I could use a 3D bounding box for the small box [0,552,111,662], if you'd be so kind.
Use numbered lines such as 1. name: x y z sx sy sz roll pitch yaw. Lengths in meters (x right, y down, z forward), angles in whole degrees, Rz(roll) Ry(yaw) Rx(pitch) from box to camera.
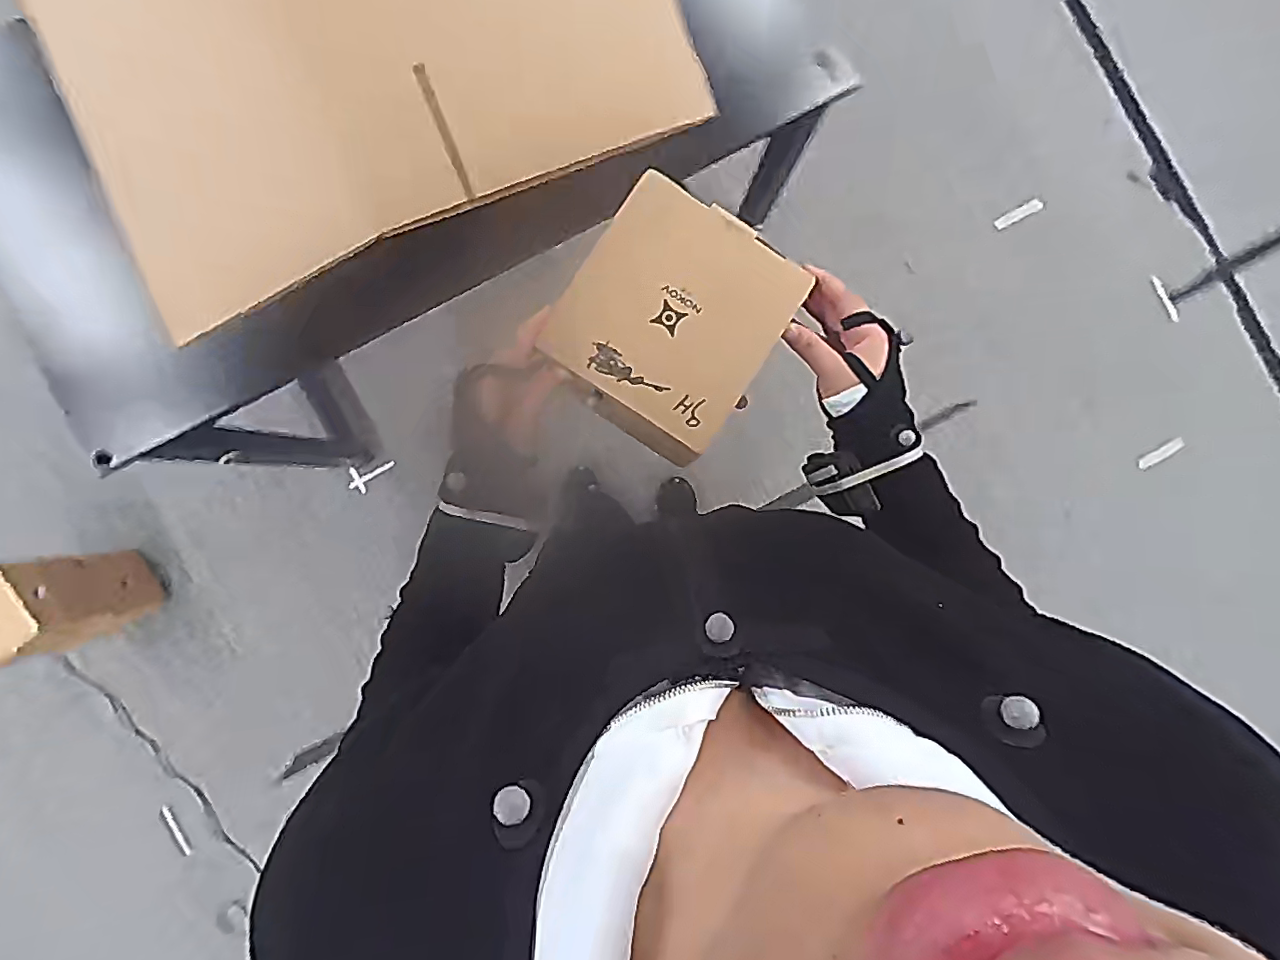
1. small box: -1.361 0.279 1.206 0.168 0.176 0.179 -35 90 -3

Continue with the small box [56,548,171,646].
1. small box: -1.362 0.284 1.368 0.168 0.176 0.179 -31 91 -2

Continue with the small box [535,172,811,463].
1. small box: 0.025 -0.134 0.515 0.168 0.176 0.179 32 87 1
